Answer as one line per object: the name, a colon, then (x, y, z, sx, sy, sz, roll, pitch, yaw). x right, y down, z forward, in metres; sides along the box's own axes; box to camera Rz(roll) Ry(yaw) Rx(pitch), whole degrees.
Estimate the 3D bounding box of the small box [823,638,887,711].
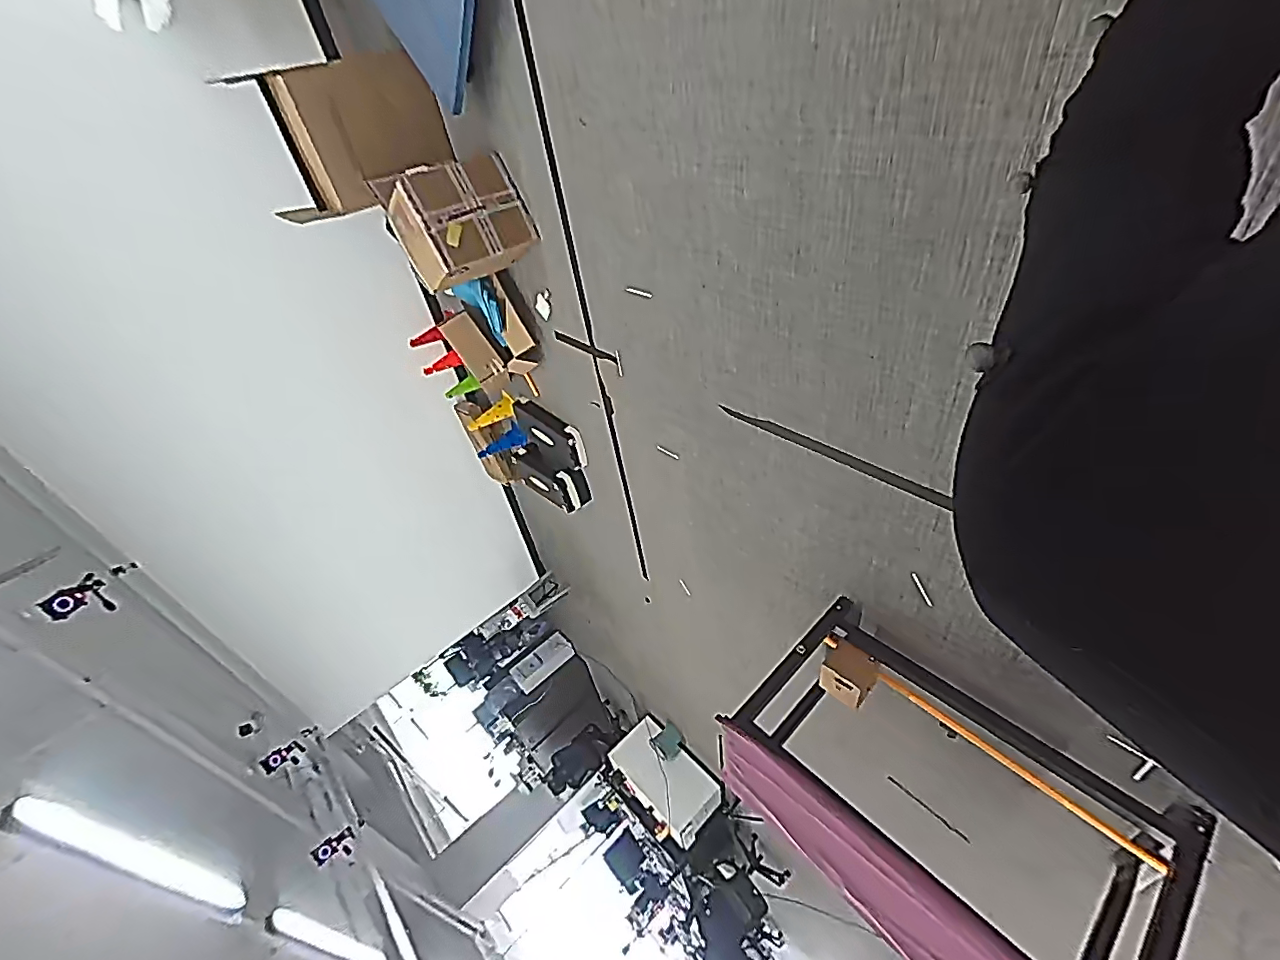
small box: (0.845, 0.756, 2.124, 0.168, 0.176, 0.179, 30, 146, 38)
